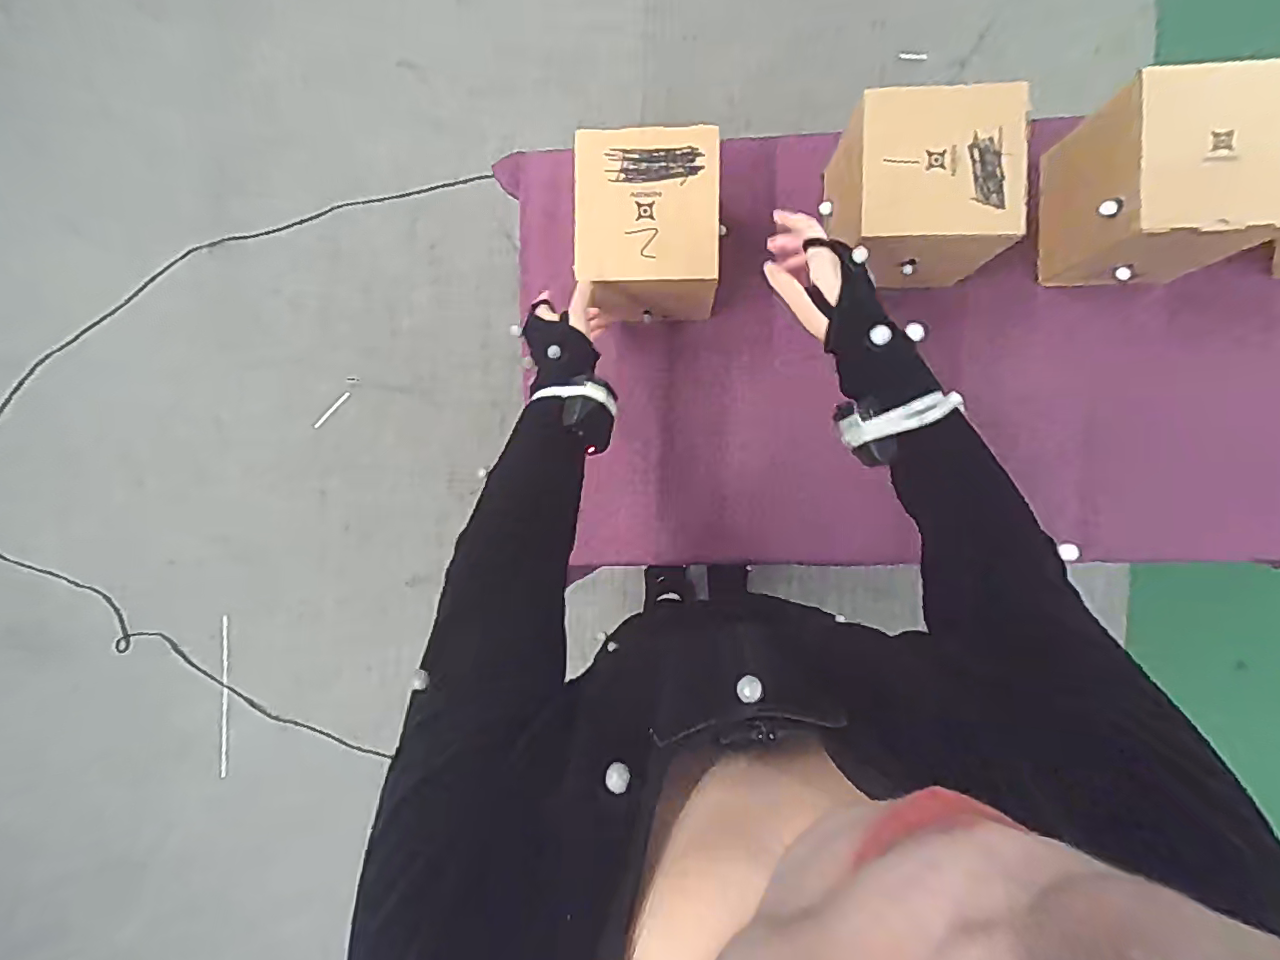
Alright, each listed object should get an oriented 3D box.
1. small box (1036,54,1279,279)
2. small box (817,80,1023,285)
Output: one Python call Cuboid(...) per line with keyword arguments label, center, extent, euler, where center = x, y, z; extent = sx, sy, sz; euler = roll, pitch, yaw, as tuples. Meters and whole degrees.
Cuboid(label="small box", center=(0.612, -0.358, 0.648), extent=(0.168, 0.176, 0.179), euler=(-1, 92, 5))
Cuboid(label="small box", center=(0.331, -0.352, 0.669), extent=(0.179, 0.176, 0.168), euler=(1, 91, 6))
